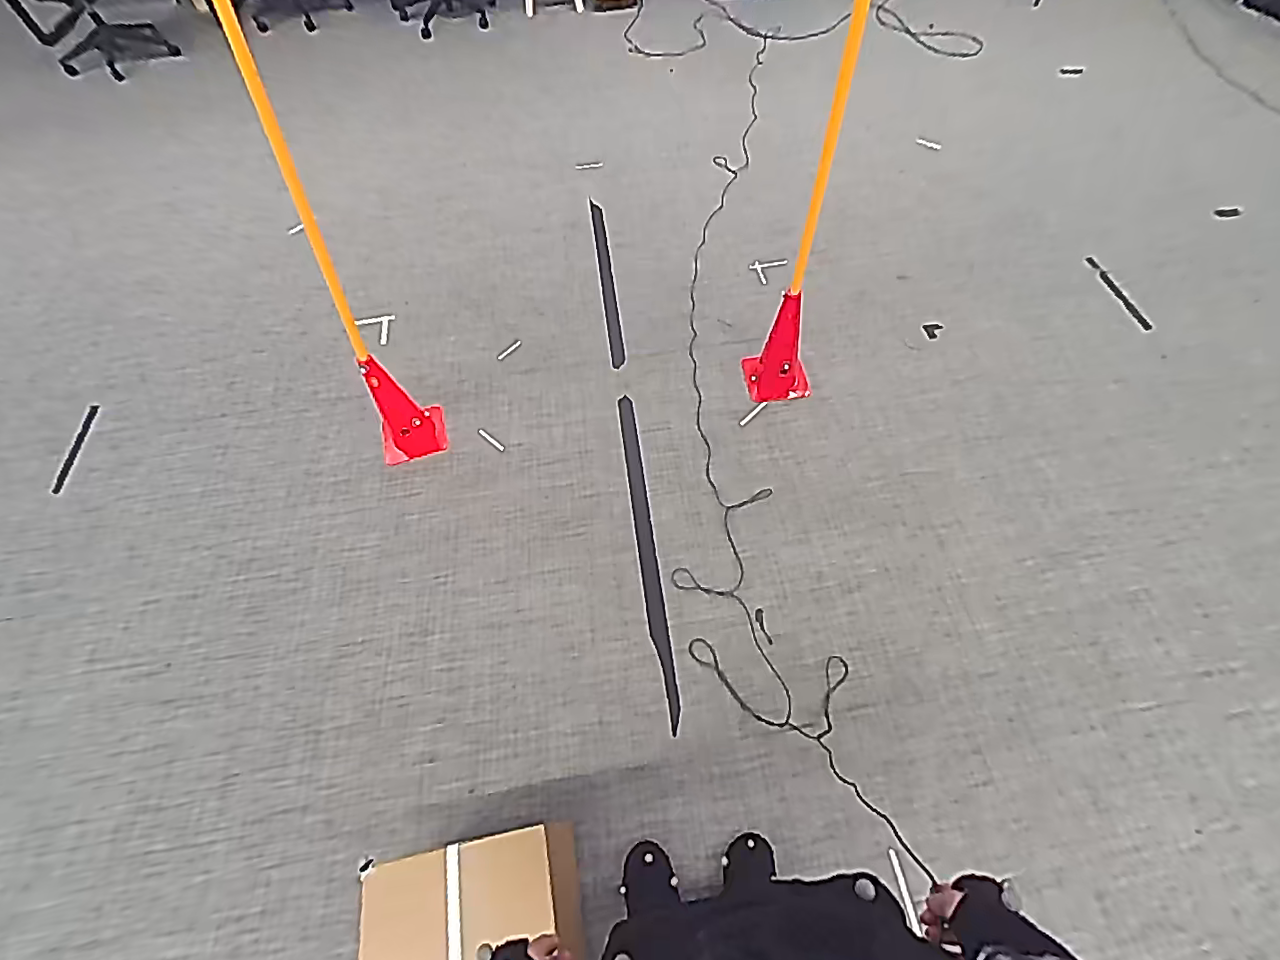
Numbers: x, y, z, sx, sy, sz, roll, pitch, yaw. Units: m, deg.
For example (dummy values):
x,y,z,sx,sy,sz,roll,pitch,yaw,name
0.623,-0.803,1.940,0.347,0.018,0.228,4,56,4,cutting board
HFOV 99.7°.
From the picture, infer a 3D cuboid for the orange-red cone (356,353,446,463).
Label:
x,y,z,sx,sy,sz,roll,pitch,yaw,name
-0.745,-0.239,1.615,0.199,0.360,0.198,-16,58,-6,orange-red cone
